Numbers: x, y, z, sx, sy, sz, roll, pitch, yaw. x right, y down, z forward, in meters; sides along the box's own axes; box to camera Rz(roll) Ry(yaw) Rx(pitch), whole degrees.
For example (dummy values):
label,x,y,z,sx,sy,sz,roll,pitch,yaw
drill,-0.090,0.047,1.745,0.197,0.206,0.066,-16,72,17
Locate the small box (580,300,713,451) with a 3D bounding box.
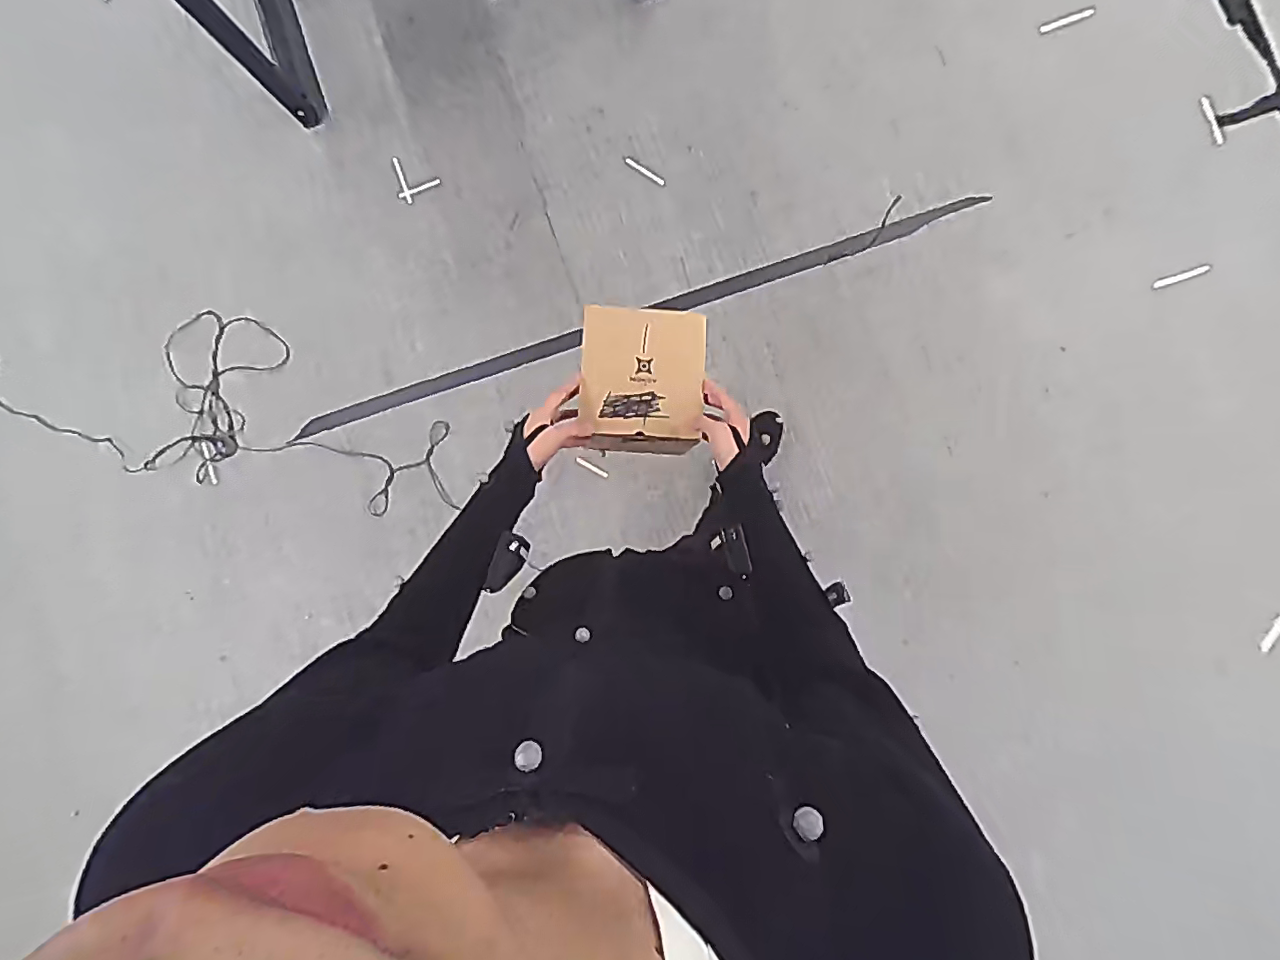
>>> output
label,x,y,z,sx,sy,sz,roll,pitch,yaw
small box,0.005,-0.138,0.778,0.168,0.176,0.179,3,86,-4
